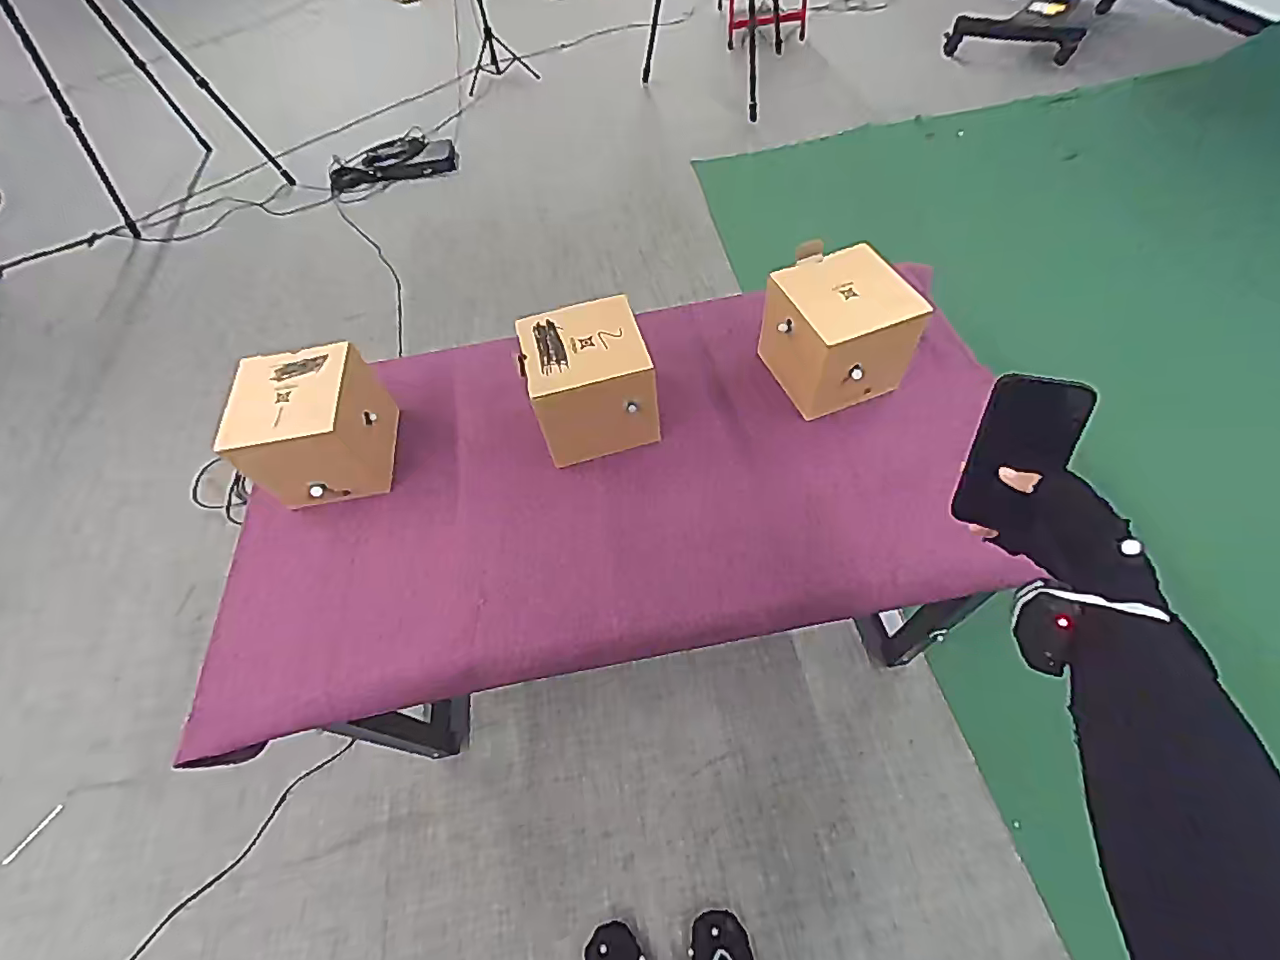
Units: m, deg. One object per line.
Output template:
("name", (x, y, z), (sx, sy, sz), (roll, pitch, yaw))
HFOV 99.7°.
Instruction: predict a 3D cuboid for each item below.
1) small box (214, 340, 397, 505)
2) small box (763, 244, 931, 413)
("small box", (-0.494, -0.084, 0.833), (0.168, 0.176, 0.179), (-10, 59, 0))
("small box", (0.308, -0.227, 0.846), (0.168, 0.176, 0.179), (-20, 57, -6))
